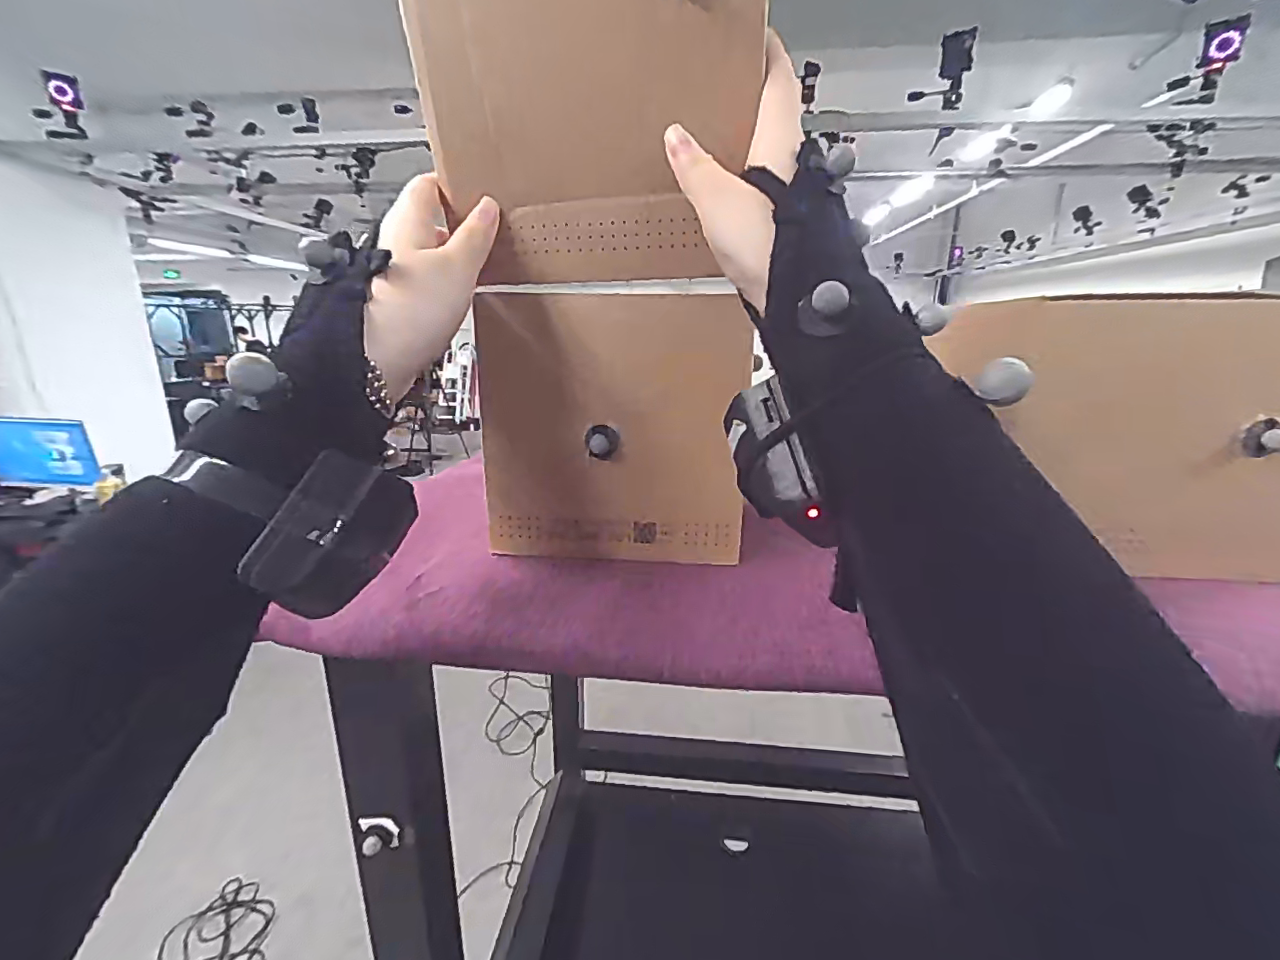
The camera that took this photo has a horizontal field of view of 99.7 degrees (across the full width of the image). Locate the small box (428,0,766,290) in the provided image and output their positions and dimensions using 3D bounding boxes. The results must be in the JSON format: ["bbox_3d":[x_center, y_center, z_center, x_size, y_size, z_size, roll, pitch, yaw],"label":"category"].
[{"bbox_3d":[-0.015,-0.221,0.353,0.179,0.176,0.168,1,27,5],"label":"small box"}]

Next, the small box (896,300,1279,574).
[{"bbox_3d":[0.314,-0.039,0.399,0.179,0.176,0.168,1,14,5],"label":"small box"}]

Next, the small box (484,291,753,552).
[{"bbox_3d":[-0.007,-0.052,0.420,0.168,0.176,0.179,3,15,4],"label":"small box"}]
